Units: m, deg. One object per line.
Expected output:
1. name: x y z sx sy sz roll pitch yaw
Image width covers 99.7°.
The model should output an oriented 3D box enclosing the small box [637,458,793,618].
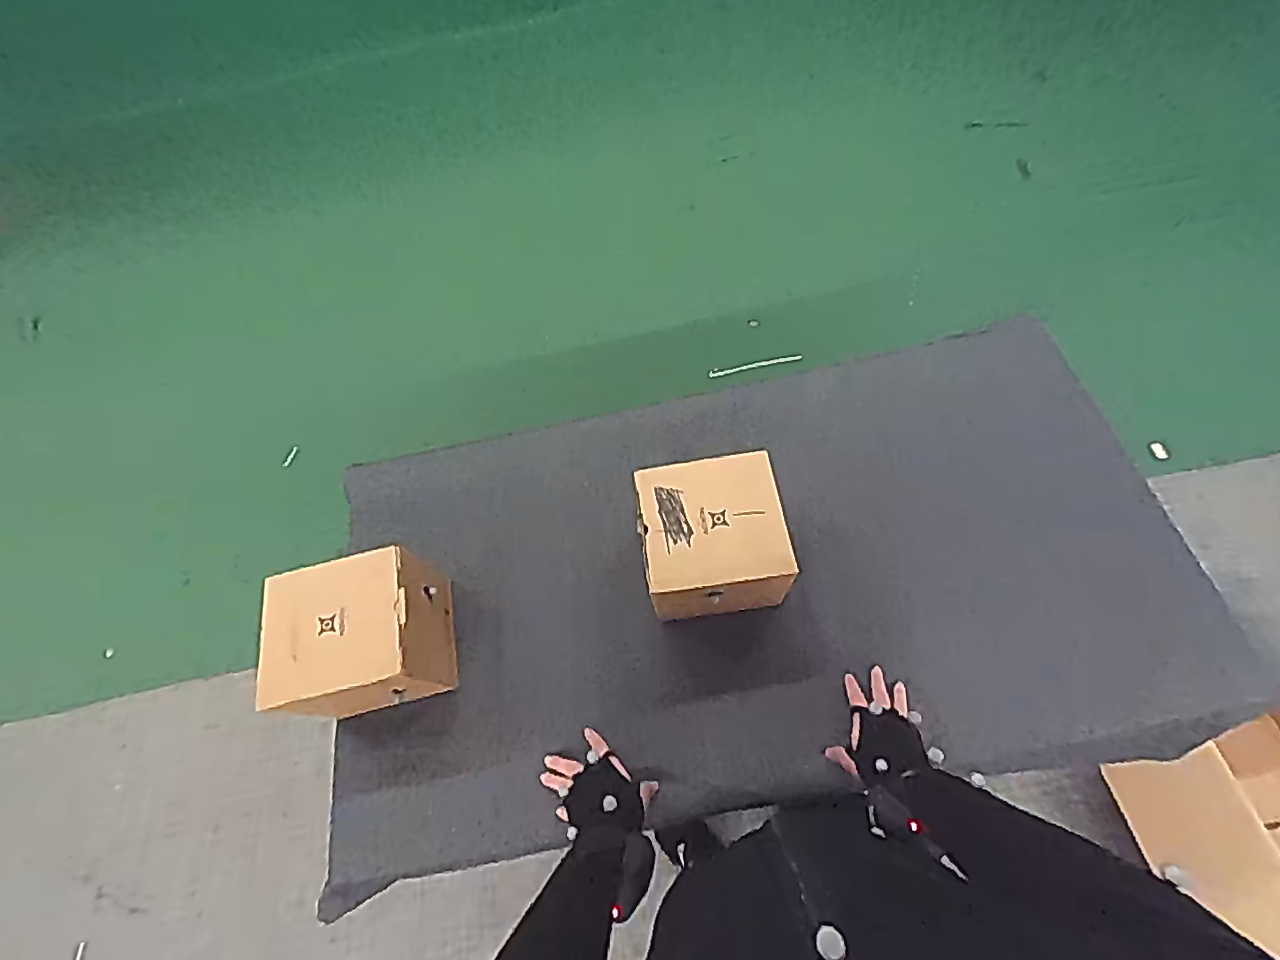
1. small box: 0.096 0.087 0.731 0.179 0.176 0.168 -6 66 4

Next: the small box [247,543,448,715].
1. small box: -0.366 0.203 0.713 0.179 0.176 0.168 -15 63 0
